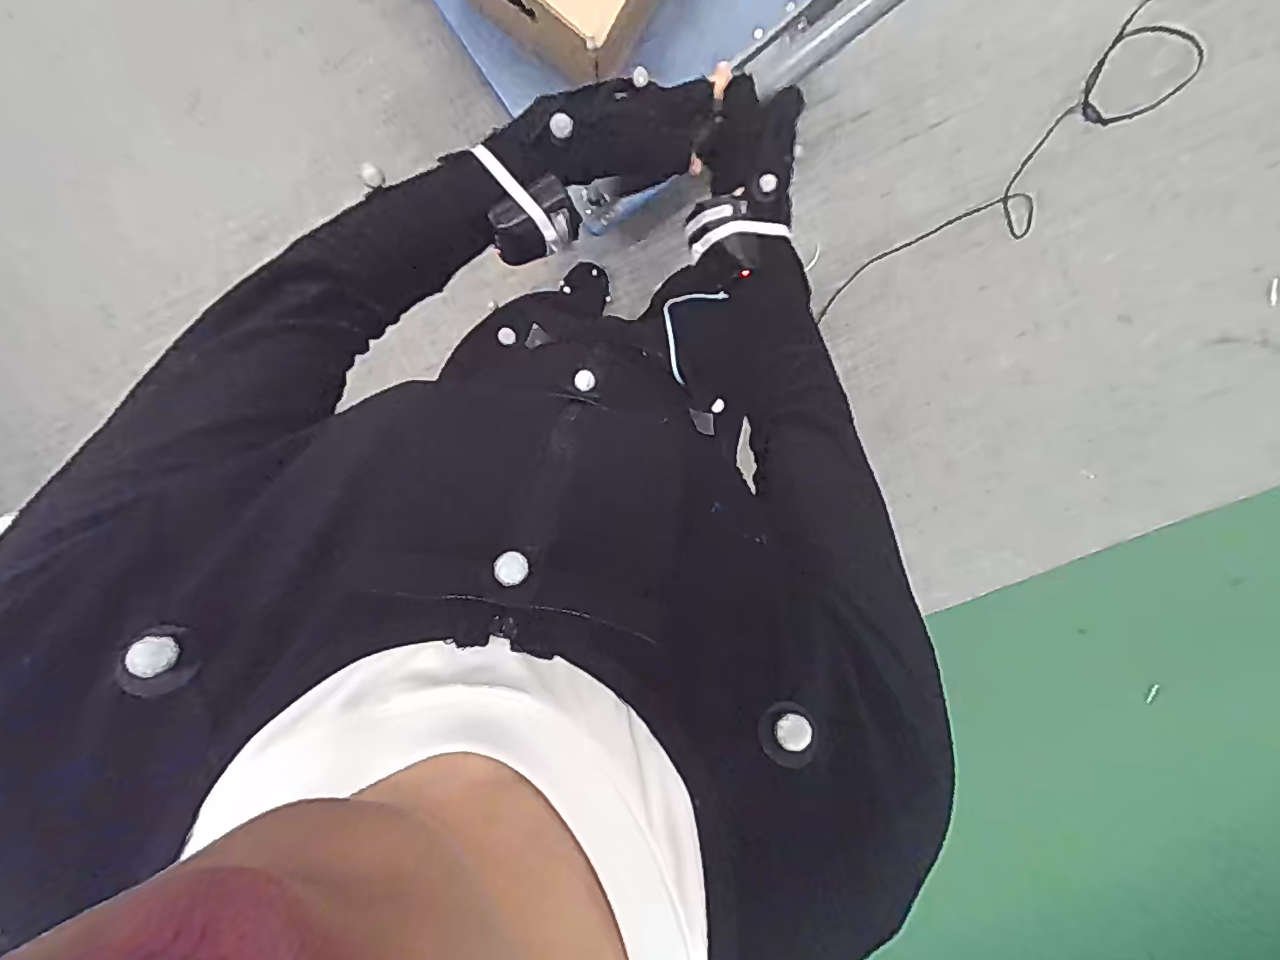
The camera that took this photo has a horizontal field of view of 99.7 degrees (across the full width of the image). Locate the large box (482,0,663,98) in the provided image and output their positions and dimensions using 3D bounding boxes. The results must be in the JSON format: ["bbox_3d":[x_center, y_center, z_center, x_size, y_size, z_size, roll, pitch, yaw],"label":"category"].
[{"bbox_3d":[-0.068,-0.897,0.804,0.320,0.320,0.408,31,109,-14],"label":"large box"}]
